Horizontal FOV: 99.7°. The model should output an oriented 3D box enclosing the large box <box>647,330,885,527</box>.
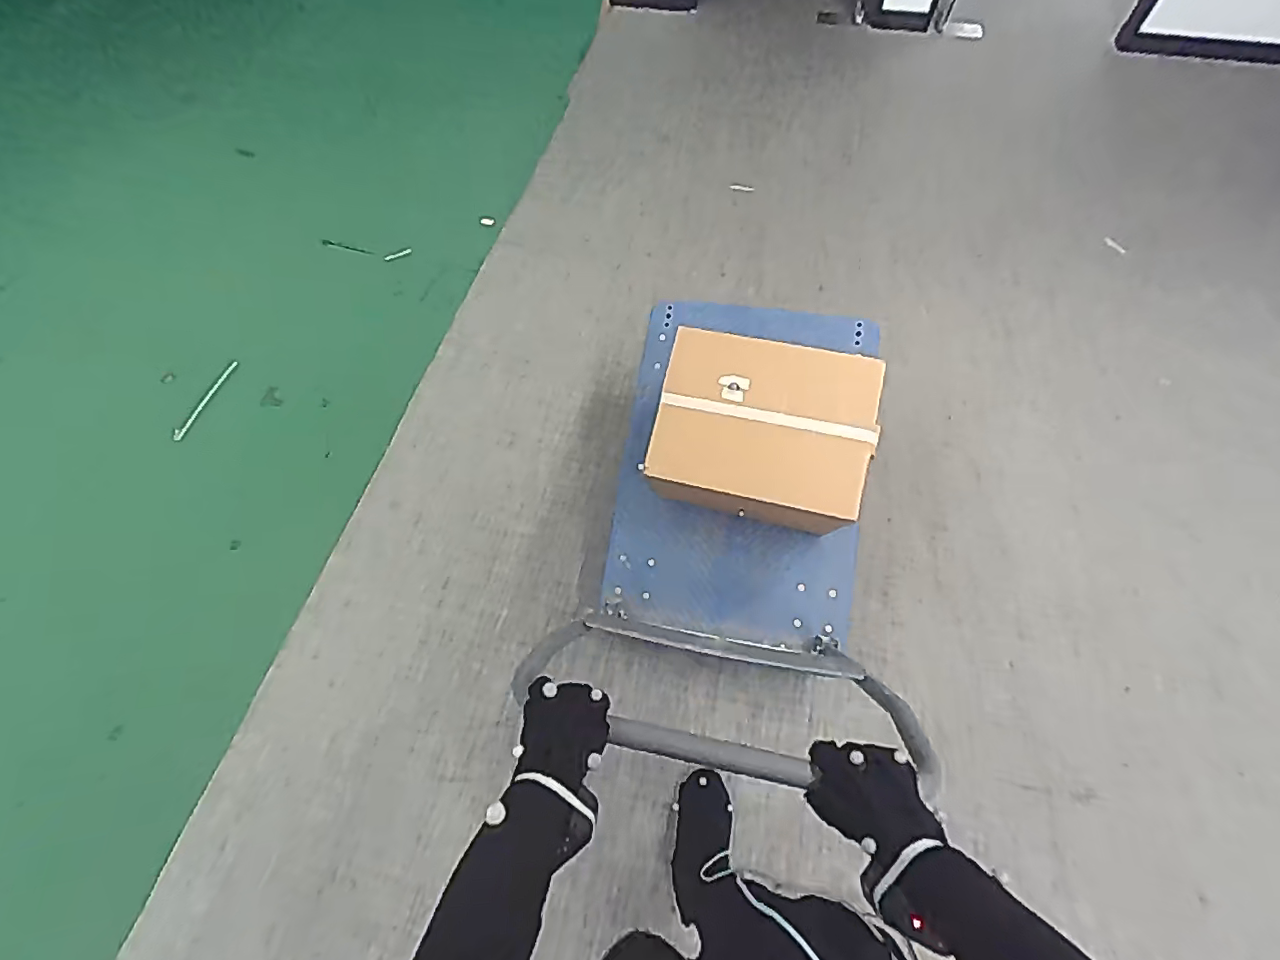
[{"bbox_3d":[0.262,-0.094,1.169,0.408,0.320,0.320,12,82,12],"label":"large box"}]
